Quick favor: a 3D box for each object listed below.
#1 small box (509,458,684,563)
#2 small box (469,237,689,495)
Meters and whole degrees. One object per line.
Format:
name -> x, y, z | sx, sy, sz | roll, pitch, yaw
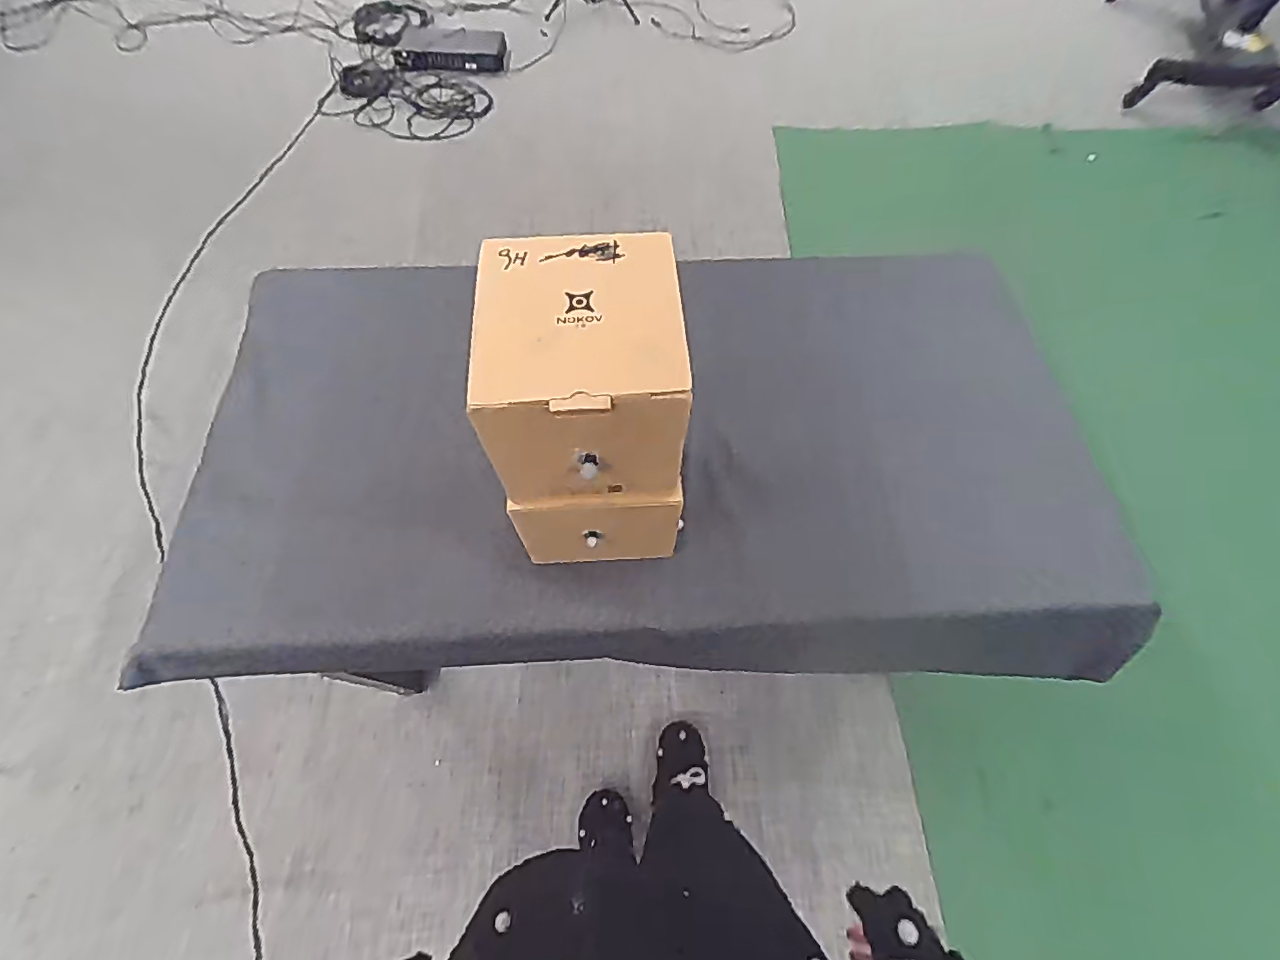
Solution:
small box -> -0.048, -0.007, 0.640 | 0.179, 0.176, 0.168 | -3, 63, -2
small box -> -0.048, -0.093, 0.500 | 0.168, 0.176, 0.179 | -3, 64, -2
